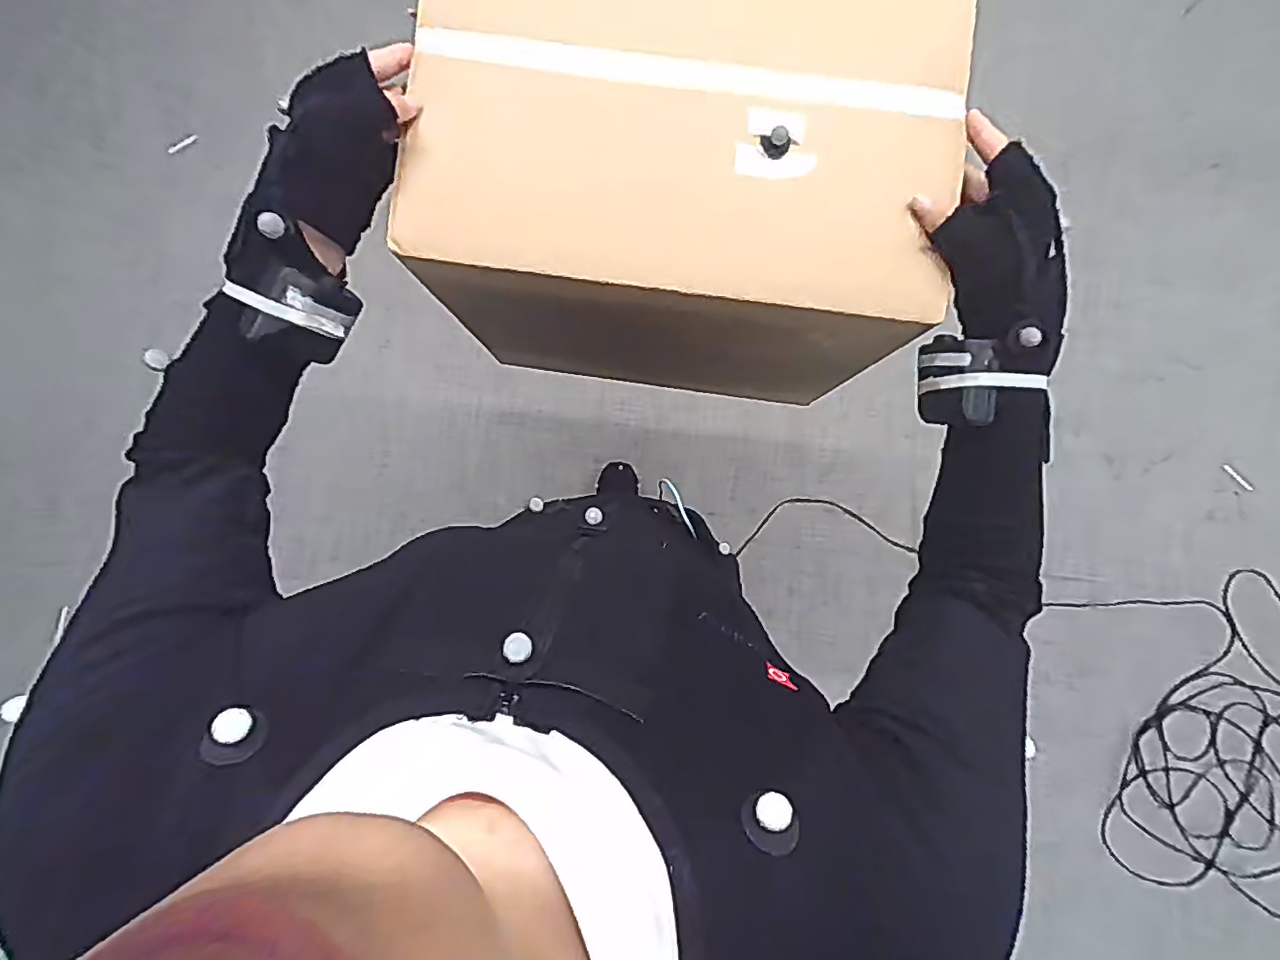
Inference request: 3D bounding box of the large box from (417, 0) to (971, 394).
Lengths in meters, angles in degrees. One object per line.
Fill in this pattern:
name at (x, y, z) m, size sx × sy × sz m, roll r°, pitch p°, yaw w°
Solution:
large box at (0.042, -0.290, 0.557) m, size 0.408 × 0.320 × 0.320 m, roll 7°, pitch 87°, yaw -1°
